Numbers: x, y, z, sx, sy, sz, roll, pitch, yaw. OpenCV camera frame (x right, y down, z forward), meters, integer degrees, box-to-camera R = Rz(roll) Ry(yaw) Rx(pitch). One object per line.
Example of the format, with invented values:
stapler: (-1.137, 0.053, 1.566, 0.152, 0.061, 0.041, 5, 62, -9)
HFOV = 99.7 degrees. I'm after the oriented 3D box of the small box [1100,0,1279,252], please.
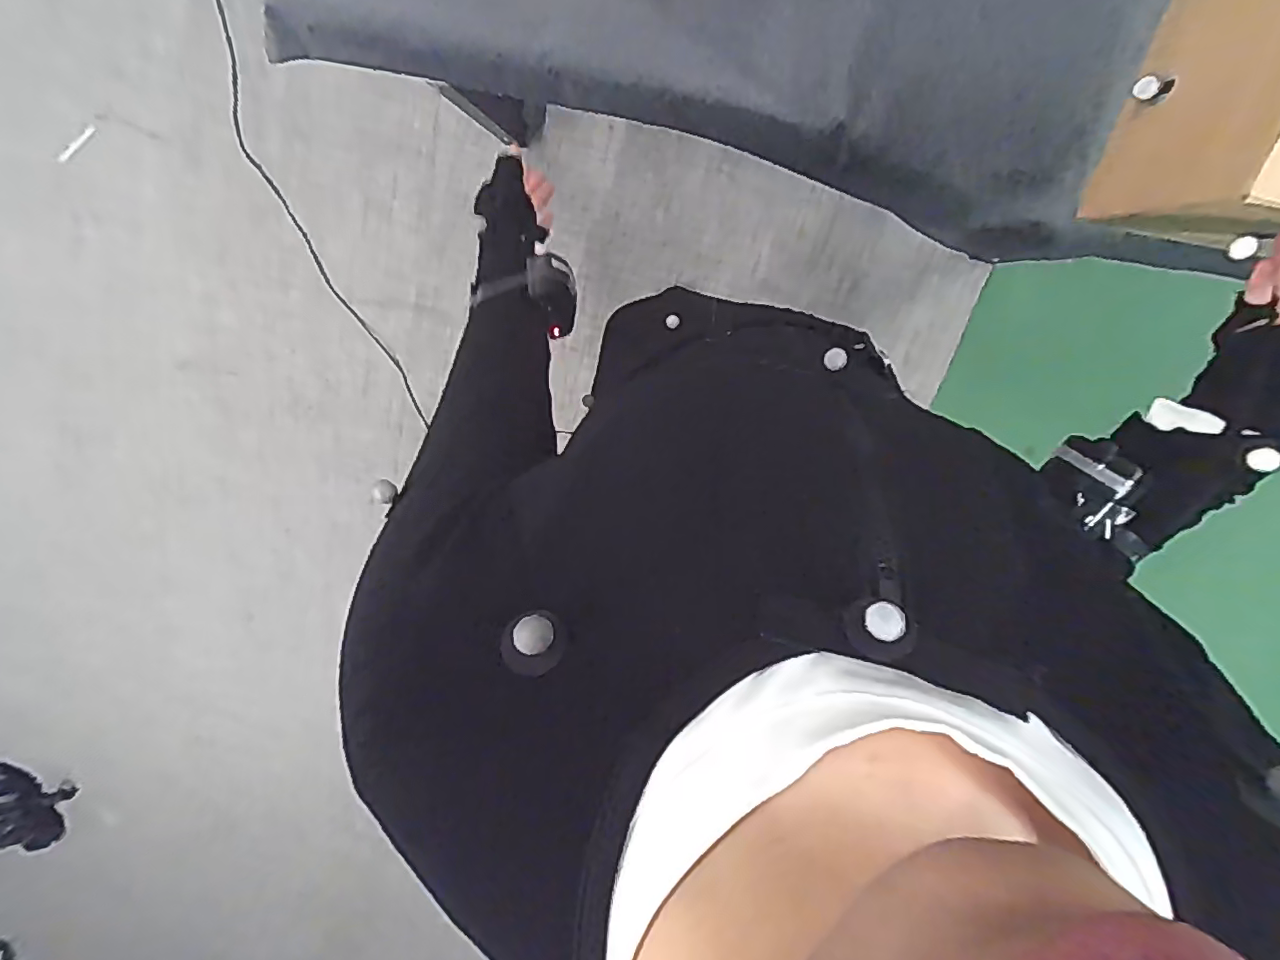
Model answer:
small box: (0.459, -0.251, 0.350, 0.168, 0.176, 0.179, 12, 114, 4)
